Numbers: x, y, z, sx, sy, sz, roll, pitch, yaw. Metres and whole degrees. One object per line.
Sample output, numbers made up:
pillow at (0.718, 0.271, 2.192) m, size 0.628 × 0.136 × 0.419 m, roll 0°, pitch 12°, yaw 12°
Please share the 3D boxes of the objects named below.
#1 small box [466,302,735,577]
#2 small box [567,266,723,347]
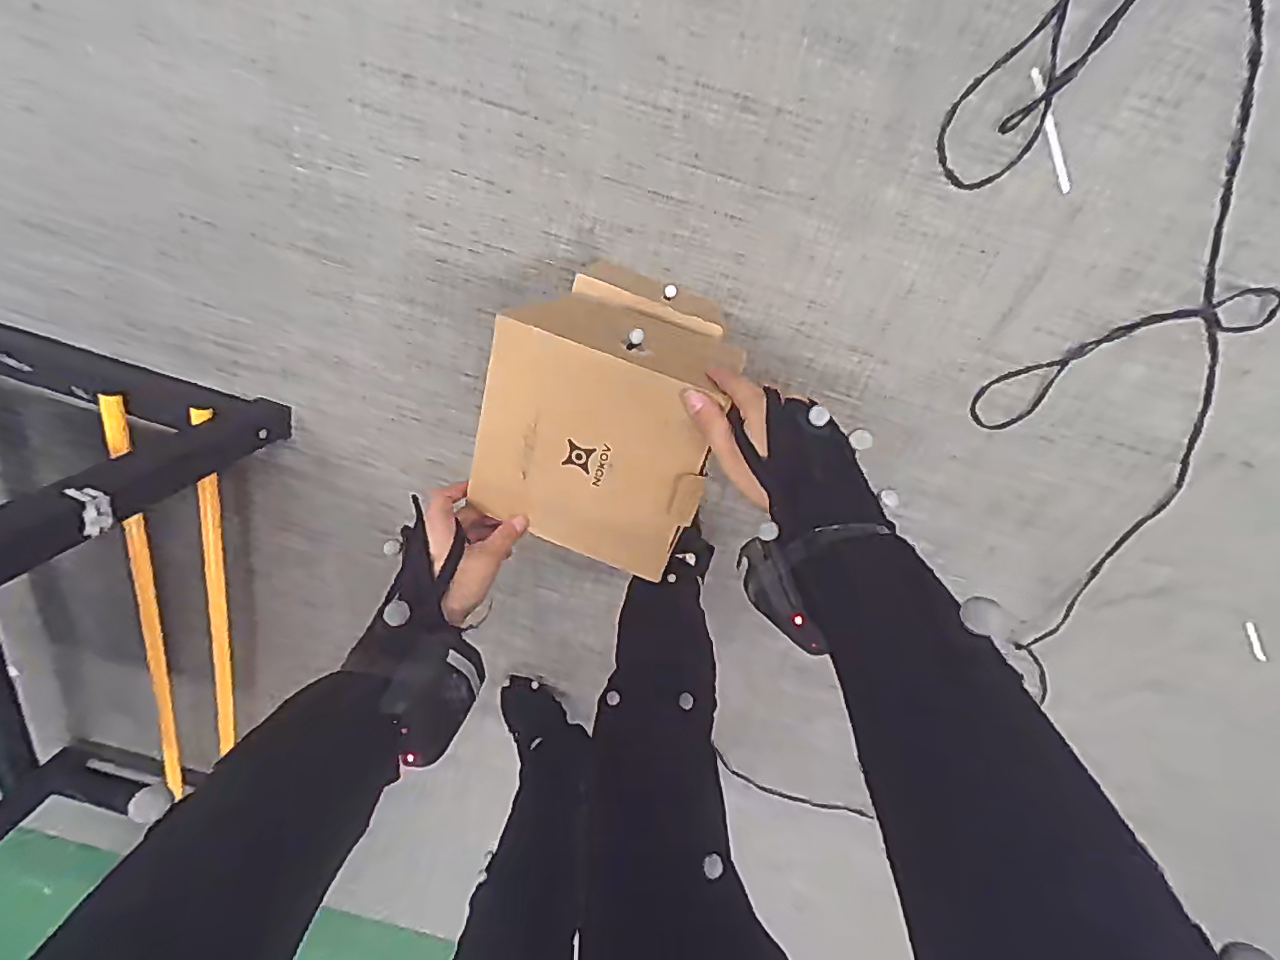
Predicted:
small box at (-0.025, -0.050, 0.481) m, size 0.179 × 0.176 × 0.168 m, roll 21°, pitch 116°, yaw 5°
small box at (-0.008, -0.163, 0.696) m, size 0.179 × 0.176 × 0.168 m, roll 19°, pitch 116°, yaw -4°
